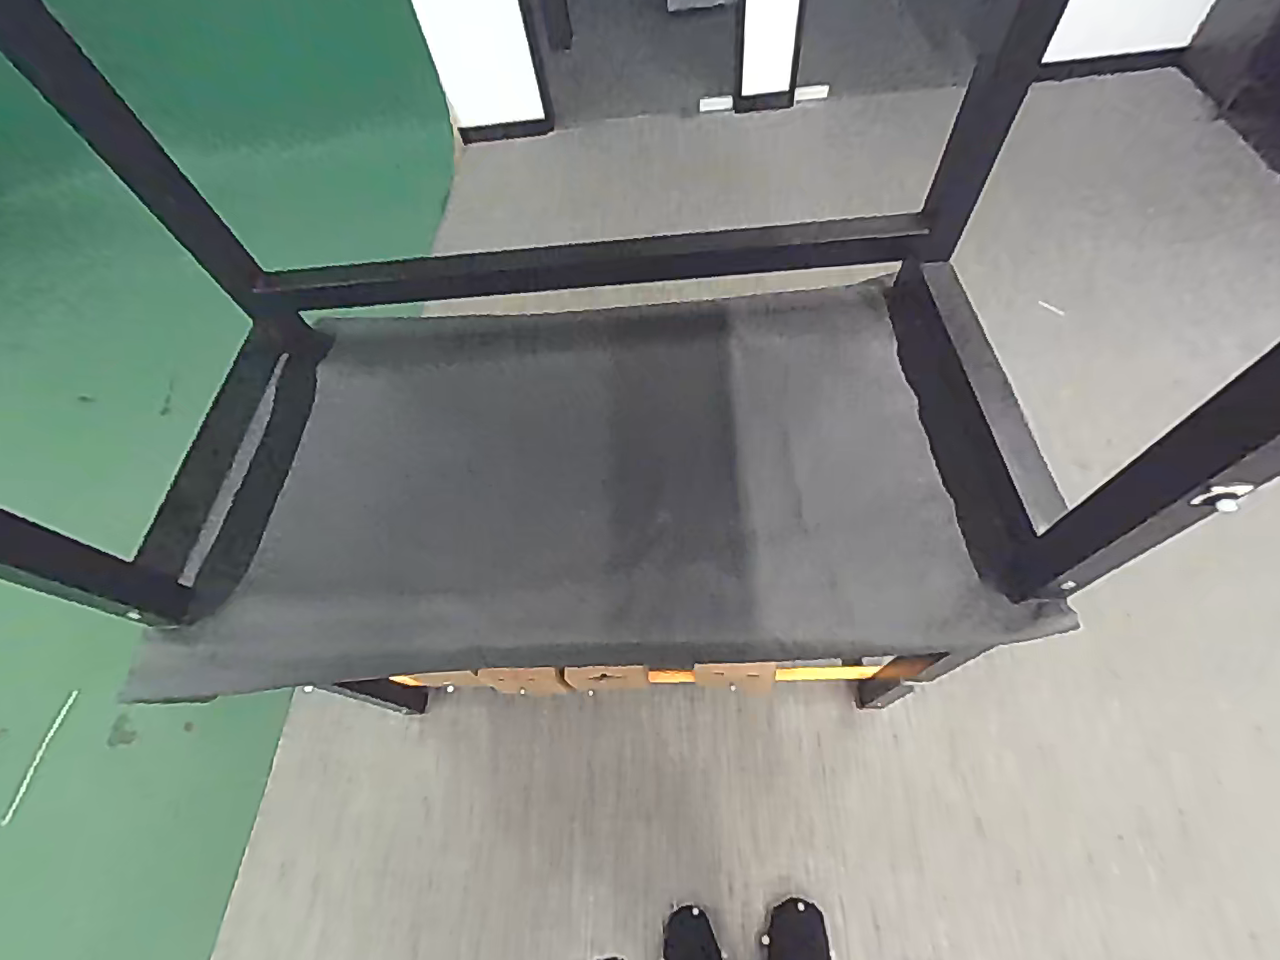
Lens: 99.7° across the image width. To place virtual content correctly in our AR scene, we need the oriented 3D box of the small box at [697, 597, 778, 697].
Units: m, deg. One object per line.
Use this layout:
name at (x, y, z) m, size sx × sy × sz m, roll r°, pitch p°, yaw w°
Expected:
small box at (0.214, 0.373, 1.203) m, size 0.168 × 0.176 × 0.179 m, roll 0°, pitch 61°, yaw 9°
